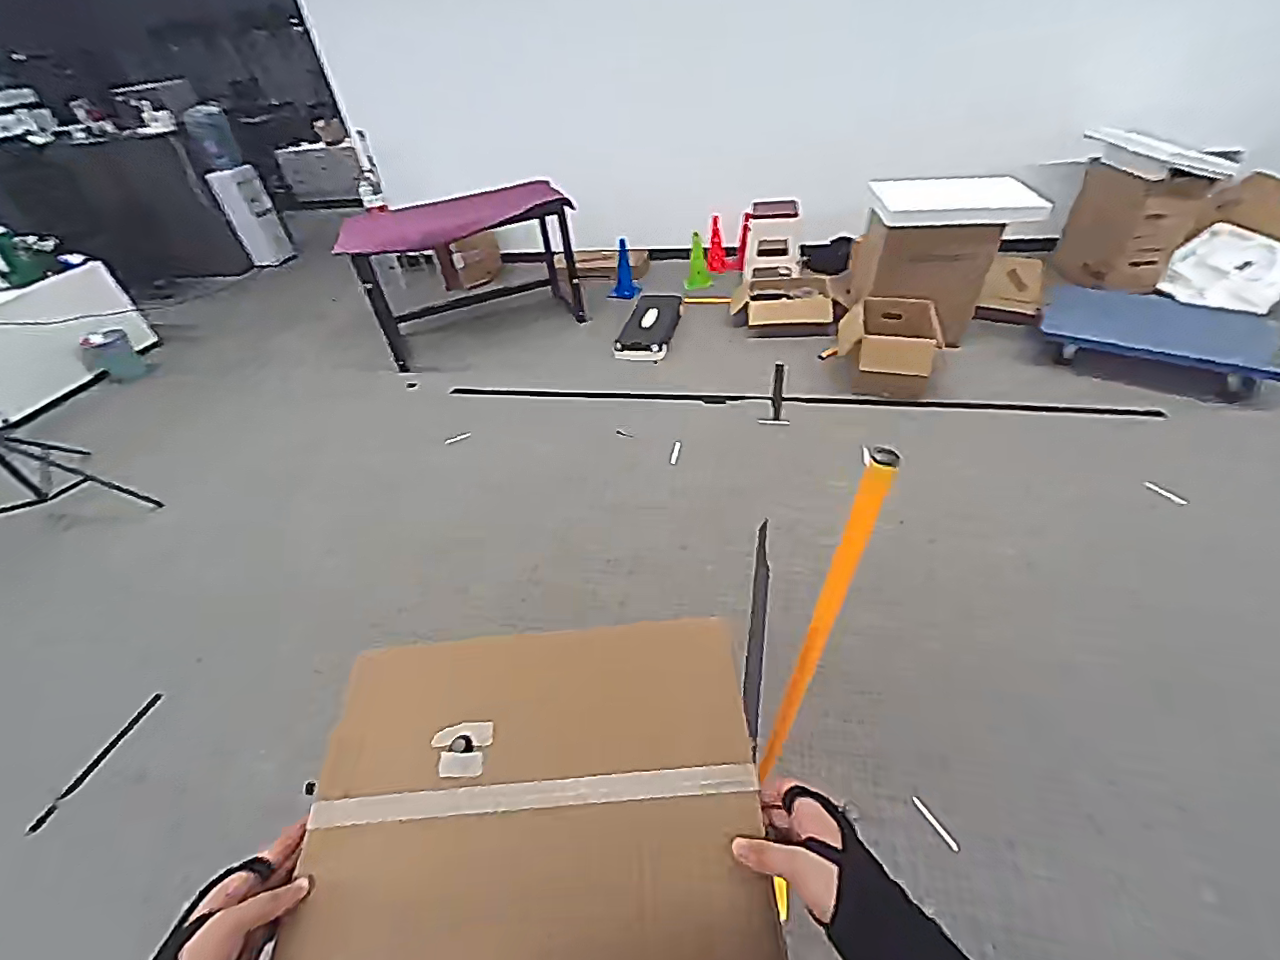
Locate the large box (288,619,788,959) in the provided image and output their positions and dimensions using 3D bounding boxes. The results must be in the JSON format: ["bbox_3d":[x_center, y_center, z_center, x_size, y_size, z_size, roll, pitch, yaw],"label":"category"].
[{"bbox_3d":[-0.079,0.389,0.606,0.408,0.320,0.320,-8,48,2],"label":"large box"}]
